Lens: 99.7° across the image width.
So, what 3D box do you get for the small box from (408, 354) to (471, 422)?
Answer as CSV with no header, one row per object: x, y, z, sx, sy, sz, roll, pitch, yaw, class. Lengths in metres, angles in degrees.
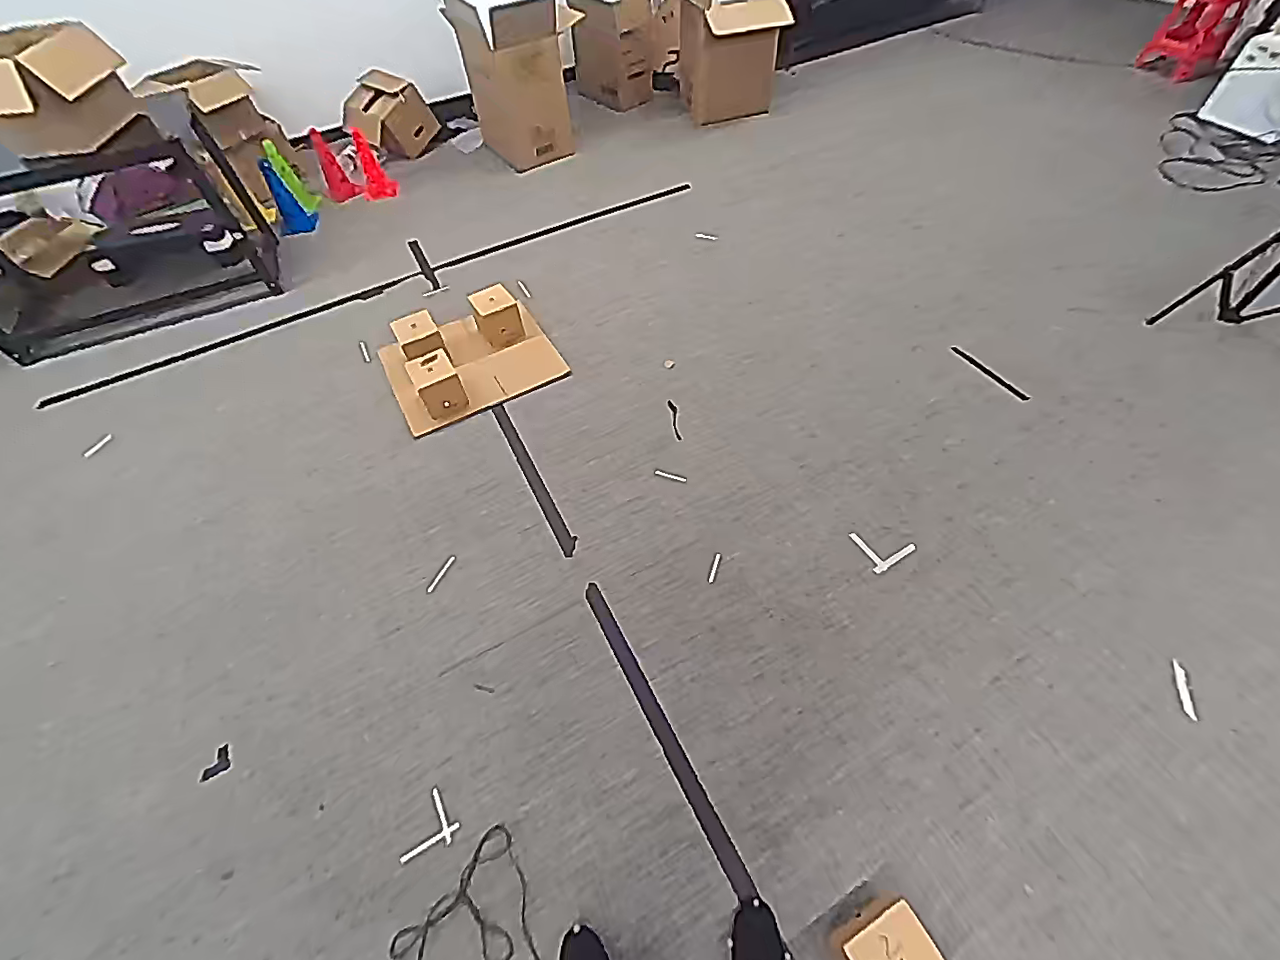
-0.810,-0.370,2.189,0.168,0.176,0.179,-28,58,-15,small box

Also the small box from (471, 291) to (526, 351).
-0.636,-0.715,2.436,0.168,0.176,0.179,-30,58,-17,small box

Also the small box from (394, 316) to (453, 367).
-0.935,-0.574,2.344,0.168,0.176,0.179,-27,57,-14,small box
